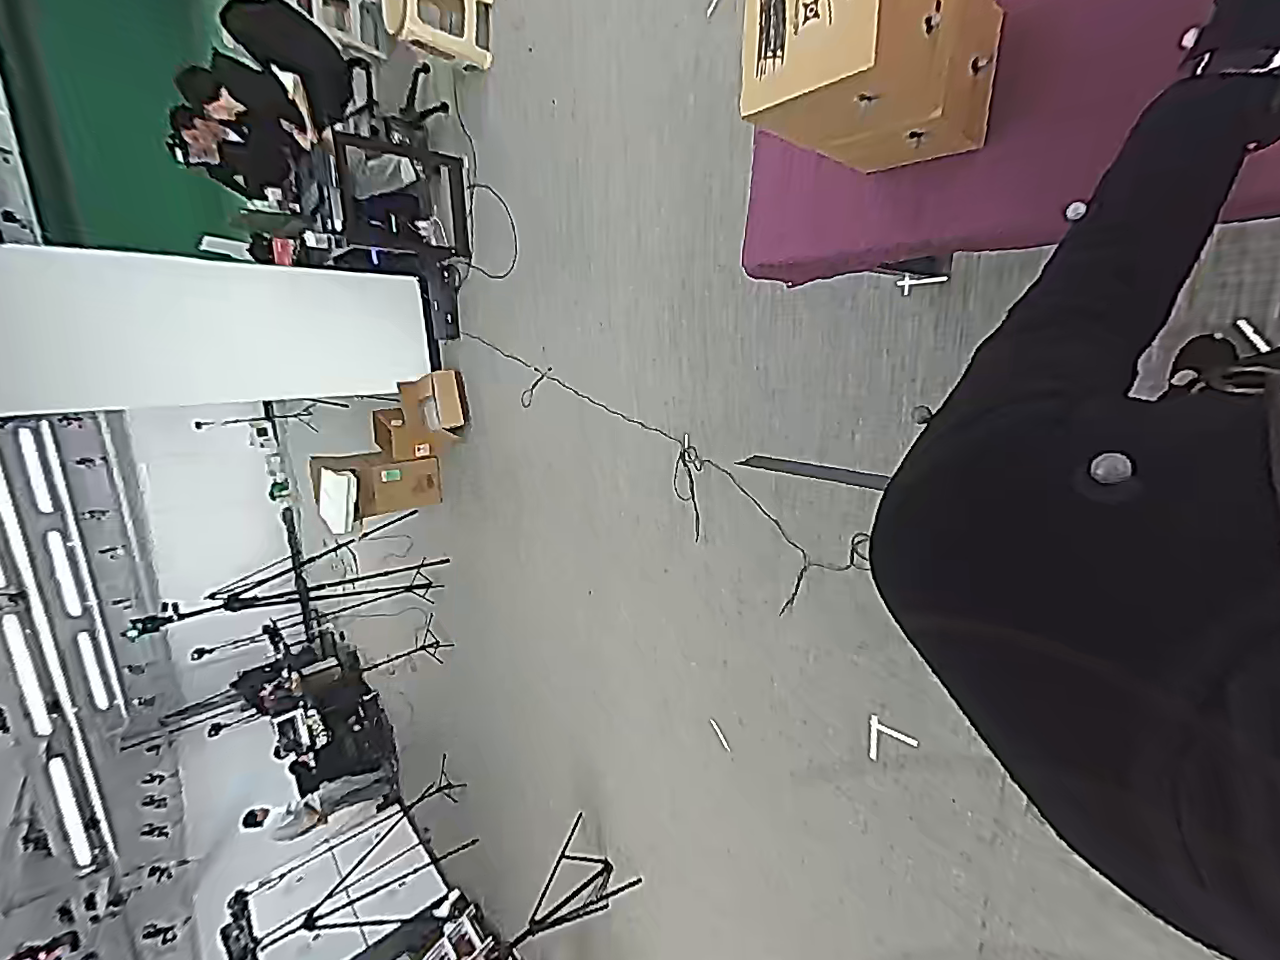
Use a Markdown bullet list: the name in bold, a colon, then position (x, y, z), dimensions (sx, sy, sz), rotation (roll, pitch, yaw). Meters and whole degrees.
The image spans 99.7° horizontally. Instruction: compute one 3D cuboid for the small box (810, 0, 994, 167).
- **small box**: position (0.364, -0.558, 0.754), dimensions (0.179, 0.176, 0.168), rotation (16, 112, 45)
